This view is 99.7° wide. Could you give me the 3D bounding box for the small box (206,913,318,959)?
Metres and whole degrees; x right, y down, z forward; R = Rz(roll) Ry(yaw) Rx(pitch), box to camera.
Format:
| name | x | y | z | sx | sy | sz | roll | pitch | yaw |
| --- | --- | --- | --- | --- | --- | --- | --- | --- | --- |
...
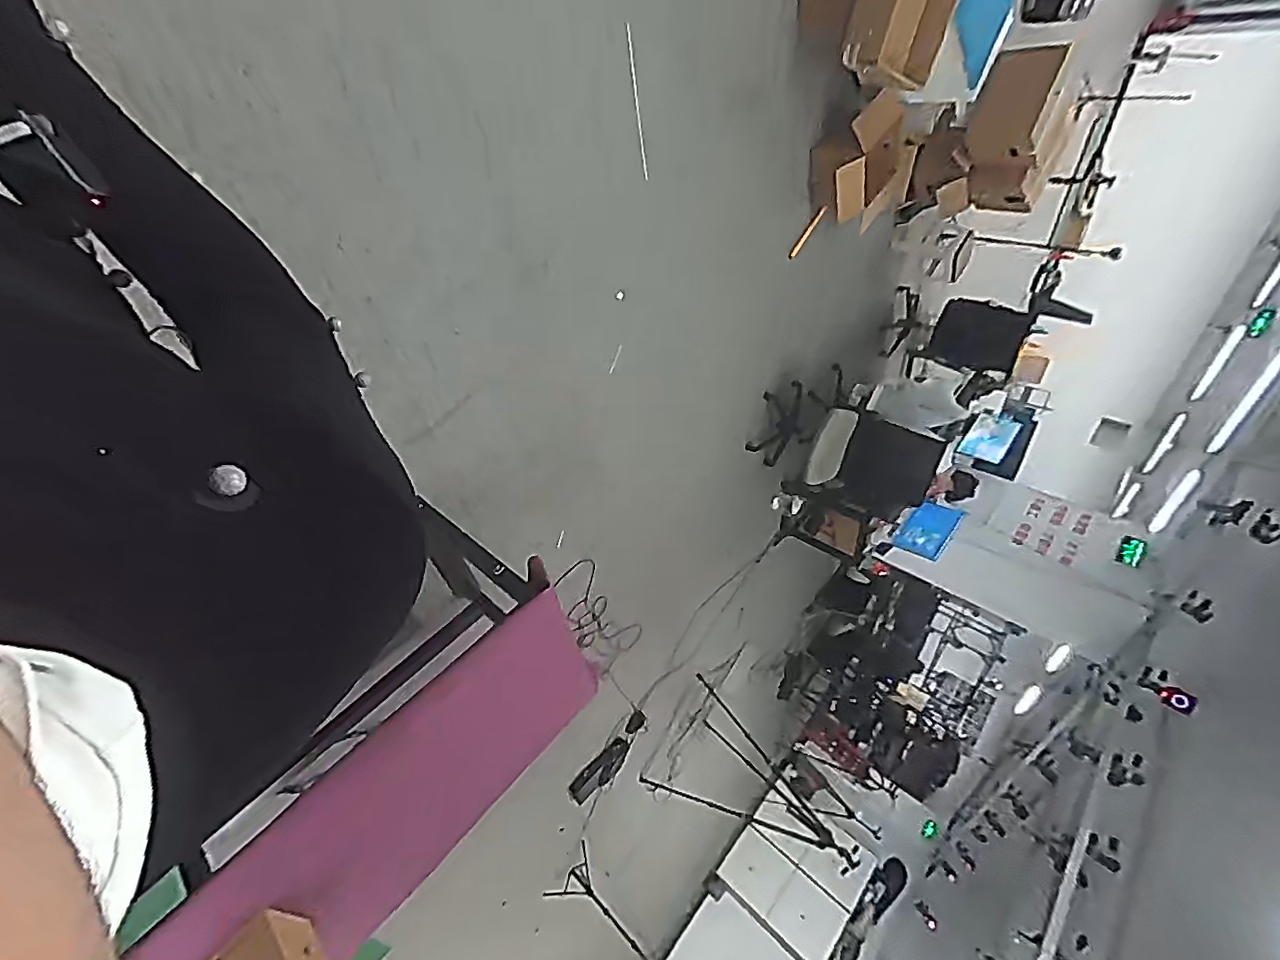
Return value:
| name | x | y | z | sx | sy | sz | roll | pitch | yaw |
| --- | --- | --- | --- | --- | --- | --- | --- | --- | --- |
| small box | -0.794 | 1.051 | 1.124 | 0.168 | 0.176 | 0.179 | -42 | 142 | -29 |
